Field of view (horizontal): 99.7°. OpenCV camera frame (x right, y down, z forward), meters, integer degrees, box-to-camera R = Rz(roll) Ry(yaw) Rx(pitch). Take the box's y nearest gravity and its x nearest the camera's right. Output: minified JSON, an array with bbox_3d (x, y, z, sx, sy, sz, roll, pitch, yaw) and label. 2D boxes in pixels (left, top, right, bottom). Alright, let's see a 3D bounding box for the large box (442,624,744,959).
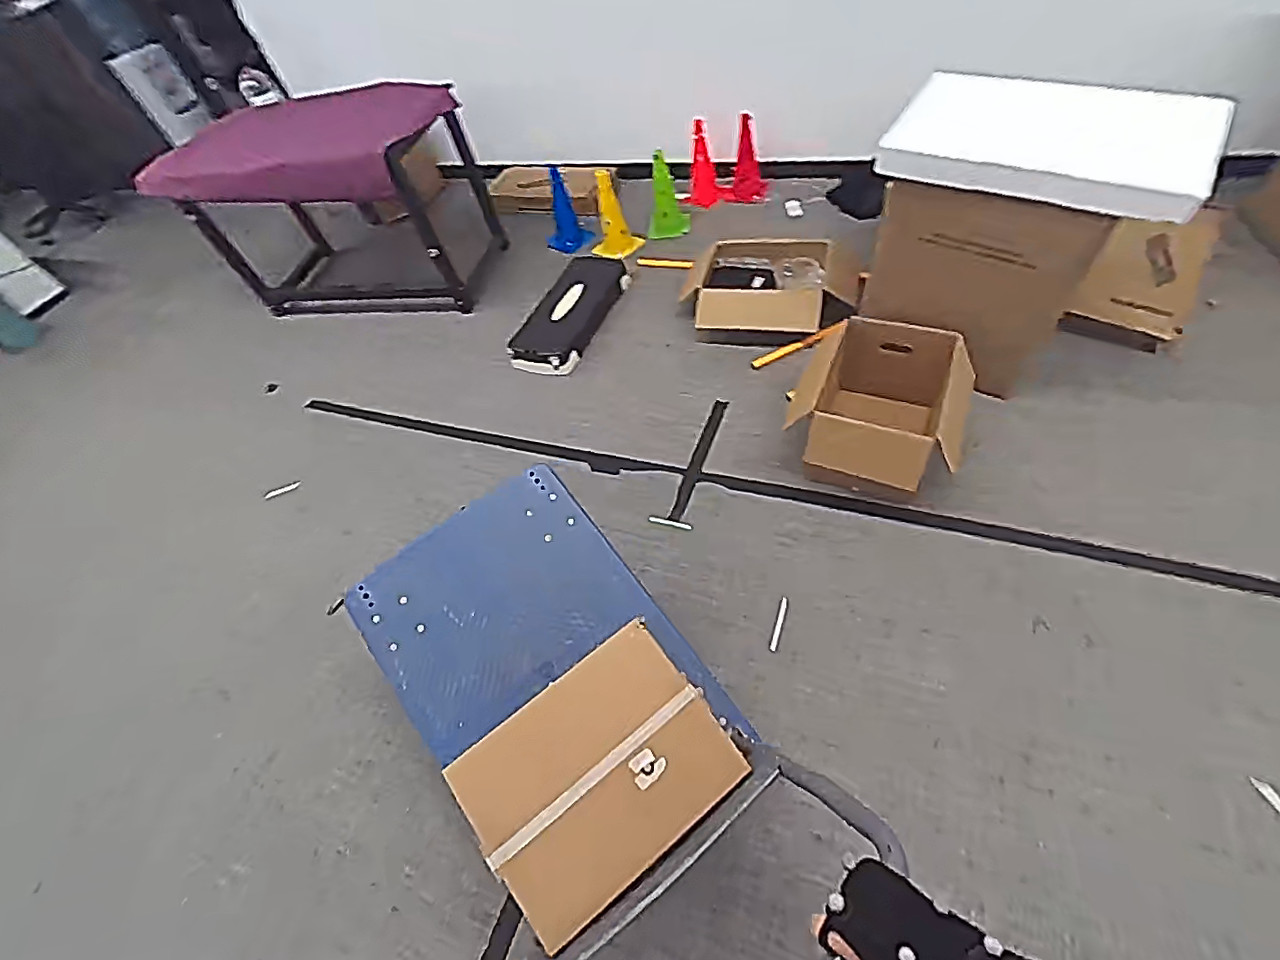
[{"bbox_3d":[-0.079,0.538,1.011,0.408,0.320,0.320,-36,75,-16],"label":"large box"}]
